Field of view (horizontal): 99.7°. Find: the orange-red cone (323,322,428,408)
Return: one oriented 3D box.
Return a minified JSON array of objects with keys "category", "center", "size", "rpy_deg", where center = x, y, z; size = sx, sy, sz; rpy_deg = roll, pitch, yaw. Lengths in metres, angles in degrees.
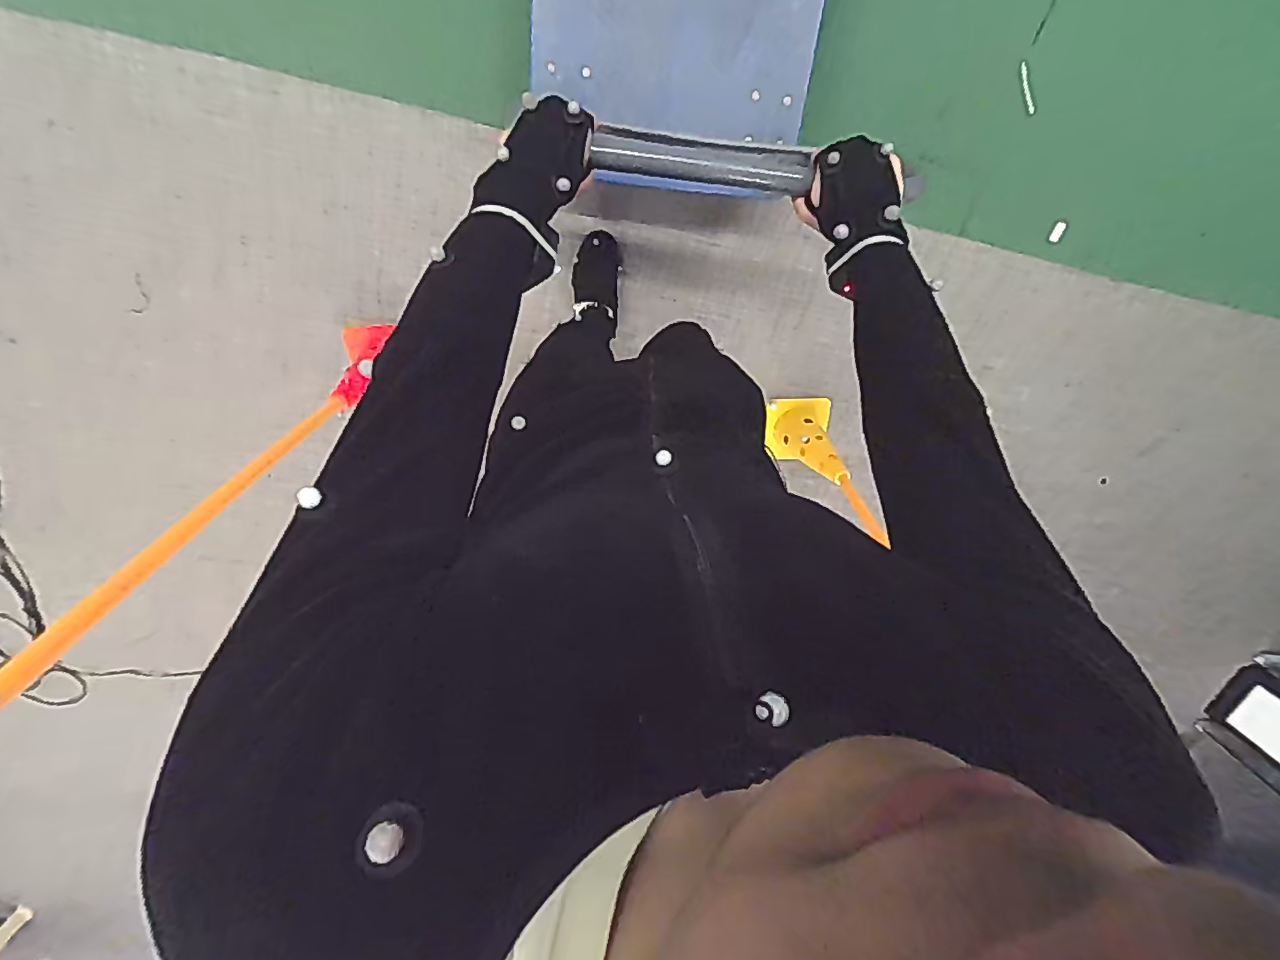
[{"category":"orange-red cone","center":[-0.671,-0.246,1.303],"size":[0.199,0.360,0.198],"rpy_deg":[-5,116,-2]}]
